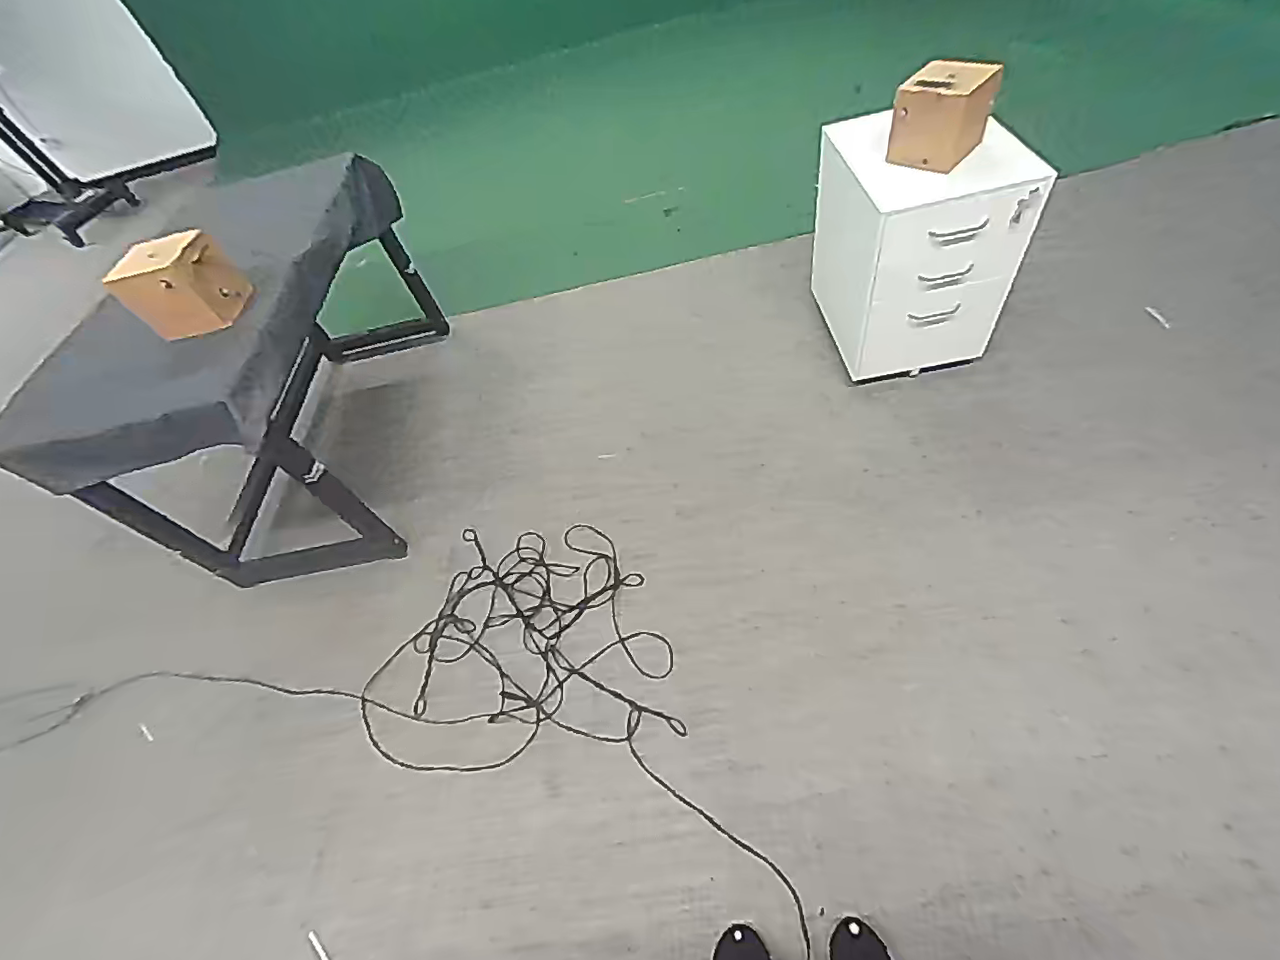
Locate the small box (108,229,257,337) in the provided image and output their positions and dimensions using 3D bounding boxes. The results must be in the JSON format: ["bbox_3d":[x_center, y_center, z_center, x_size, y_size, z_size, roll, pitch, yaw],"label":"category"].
[{"bbox_3d":[-1.074,-0.462,1.288,0.179,0.176,0.168,-10,52,5],"label":"small box"}]
